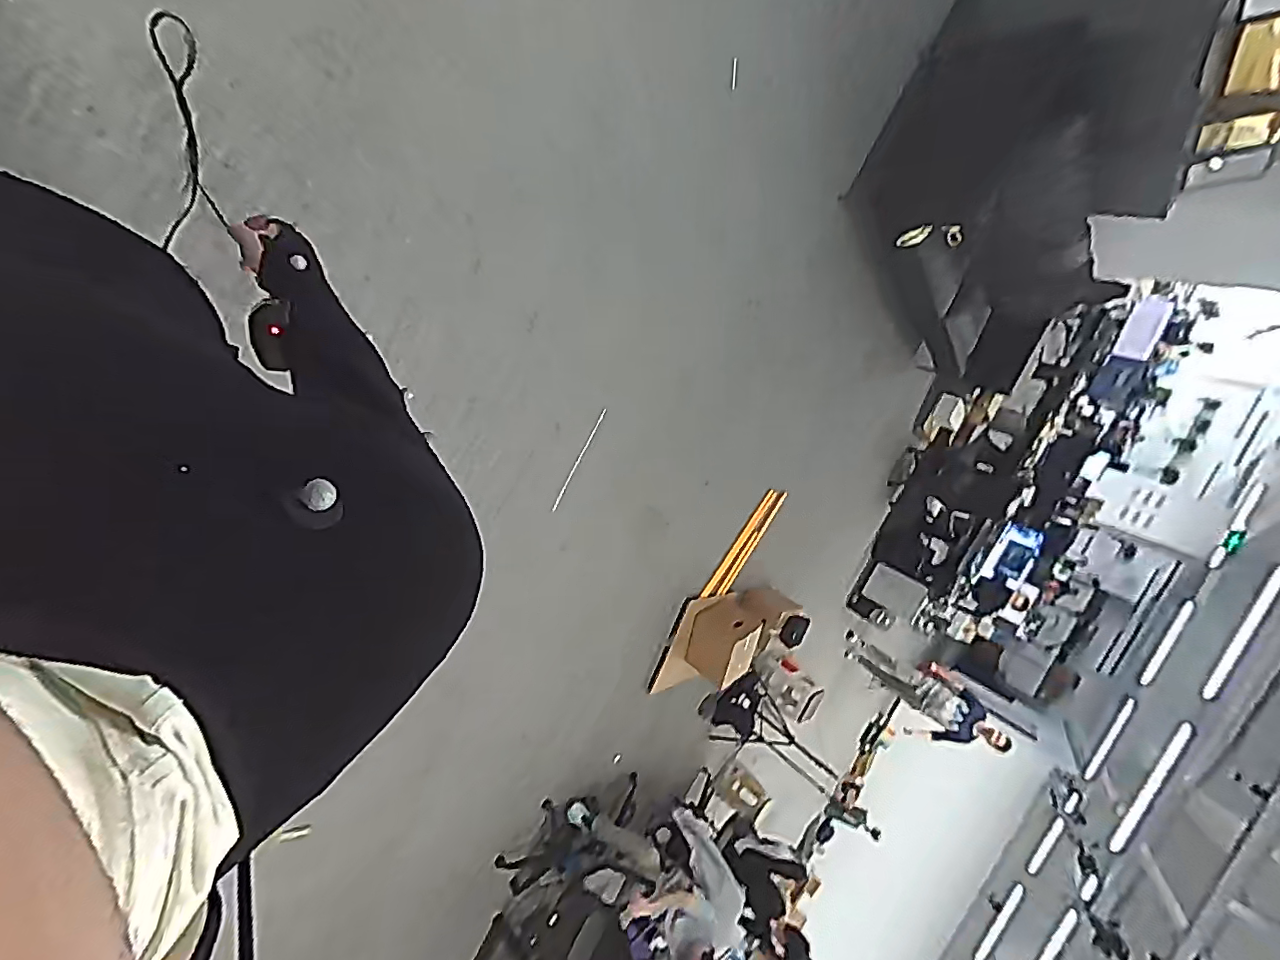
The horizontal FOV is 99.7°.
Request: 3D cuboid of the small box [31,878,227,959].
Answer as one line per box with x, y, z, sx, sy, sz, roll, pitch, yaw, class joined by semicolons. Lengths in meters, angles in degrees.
-0.681;0.665;0.703;0.168;0.176;0.179;21;98;-51;small box
